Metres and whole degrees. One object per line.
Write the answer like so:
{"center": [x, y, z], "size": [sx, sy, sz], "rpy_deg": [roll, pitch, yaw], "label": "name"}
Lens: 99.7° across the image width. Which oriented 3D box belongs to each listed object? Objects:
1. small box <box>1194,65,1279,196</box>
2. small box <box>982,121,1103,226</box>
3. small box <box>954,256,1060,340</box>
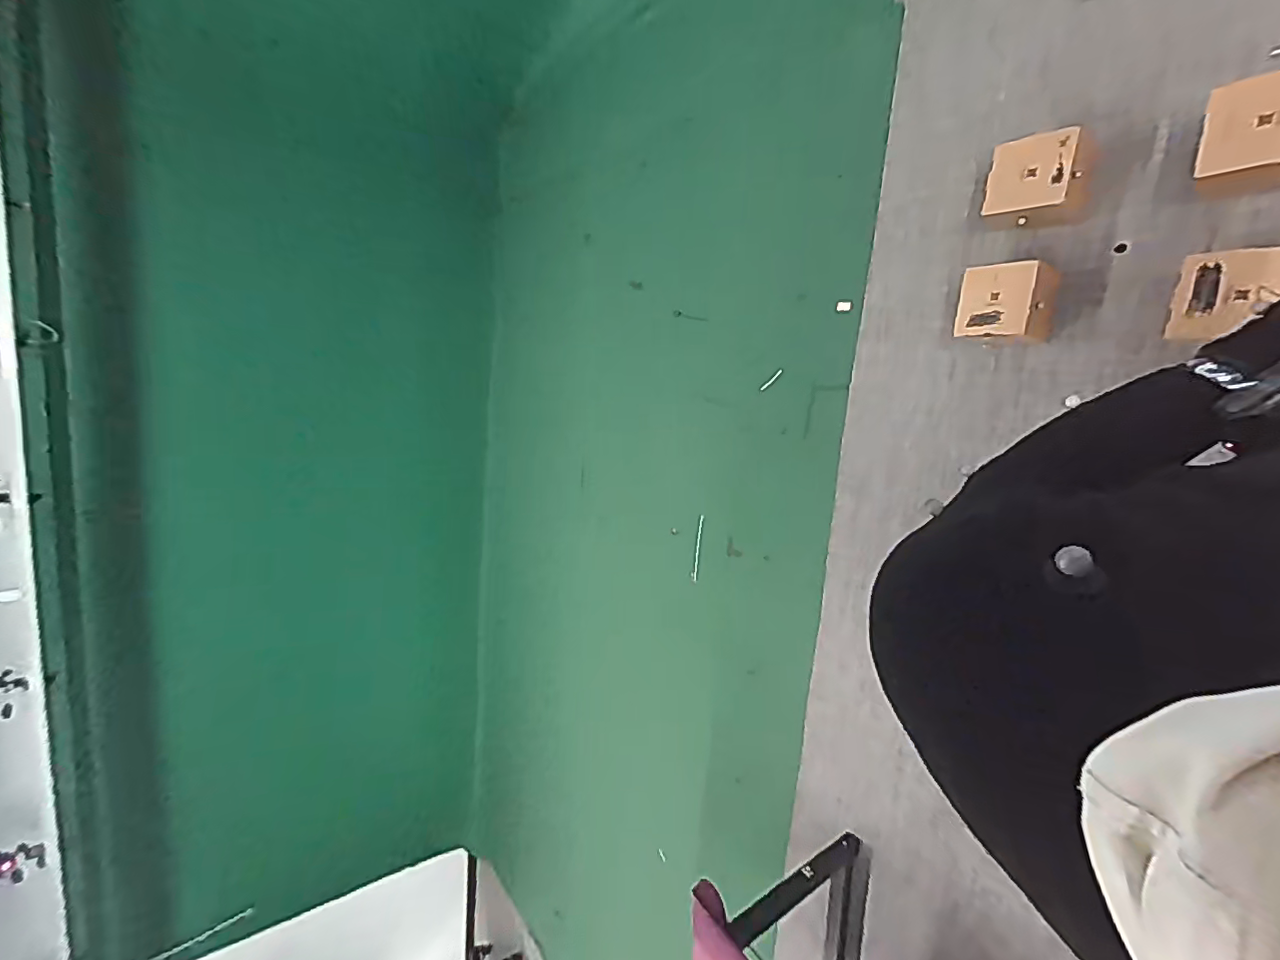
{"center": [1.210, -0.667, 1.029], "size": [0.179, 0.176, 0.168], "rpy_deg": [16, 103, 52], "label": "small box"}
{"center": [0.983, -0.736, 1.323], "size": [0.179, 0.176, 0.168], "rpy_deg": [21, 108, 51], "label": "small box"}
{"center": [0.942, -0.456, 1.386], "size": [0.168, 0.176, 0.179], "rpy_deg": [18, 104, 51], "label": "small box"}
